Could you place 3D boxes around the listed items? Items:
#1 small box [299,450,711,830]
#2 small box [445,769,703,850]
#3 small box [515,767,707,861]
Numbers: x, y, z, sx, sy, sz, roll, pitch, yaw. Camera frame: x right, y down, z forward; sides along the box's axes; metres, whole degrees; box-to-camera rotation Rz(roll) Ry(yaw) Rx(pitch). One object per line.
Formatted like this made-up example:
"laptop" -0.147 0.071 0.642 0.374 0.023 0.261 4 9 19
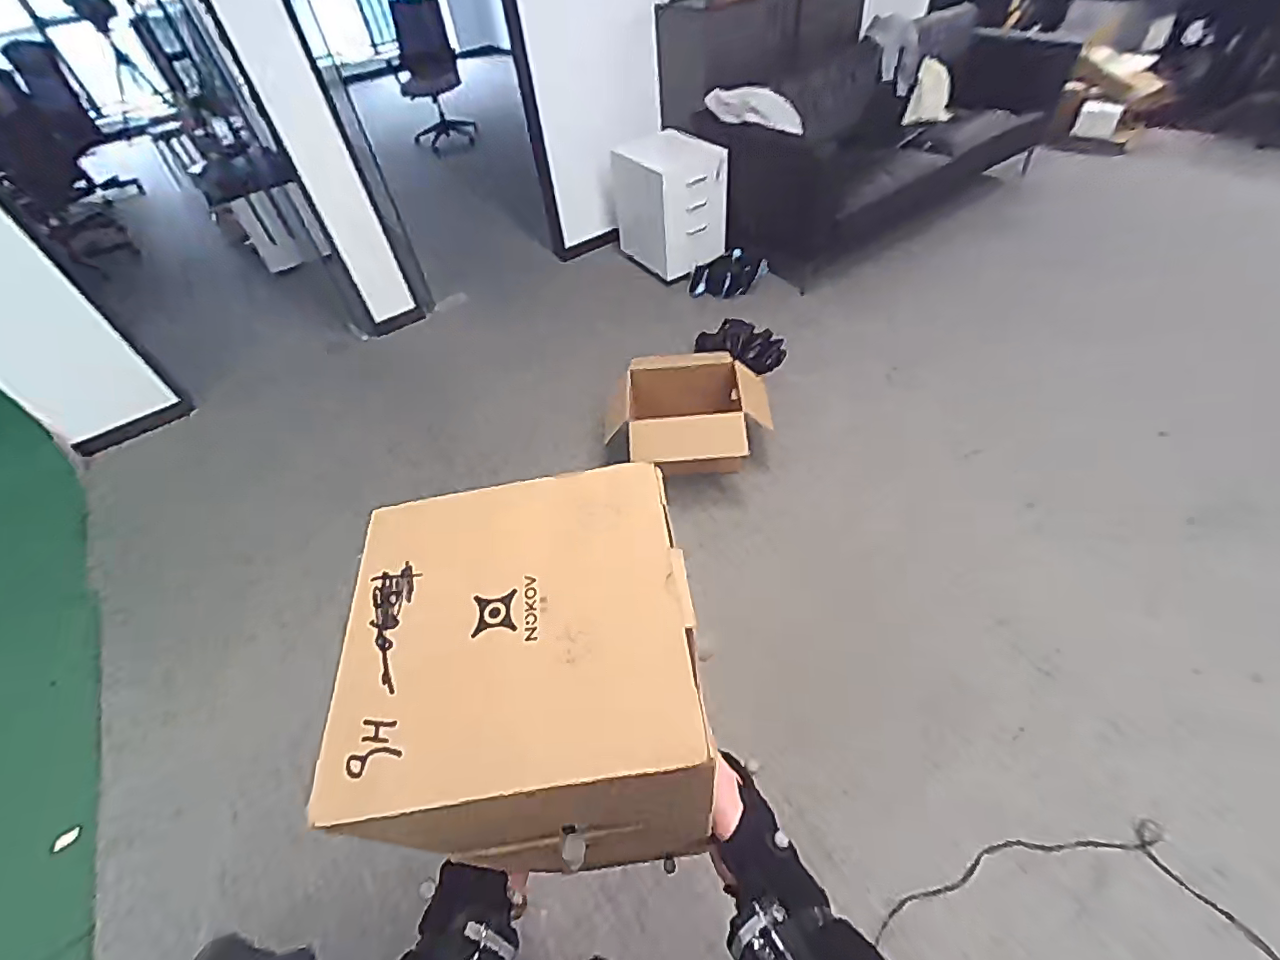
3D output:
"small box" -0.059 0.105 0.335 0.179 0.176 0.168 -8 52 0
"small box" -0.045 0.205 0.464 0.179 0.176 0.168 -9 52 -1
"small box" -0.026 0.305 0.593 0.179 0.176 0.168 -10 51 1
